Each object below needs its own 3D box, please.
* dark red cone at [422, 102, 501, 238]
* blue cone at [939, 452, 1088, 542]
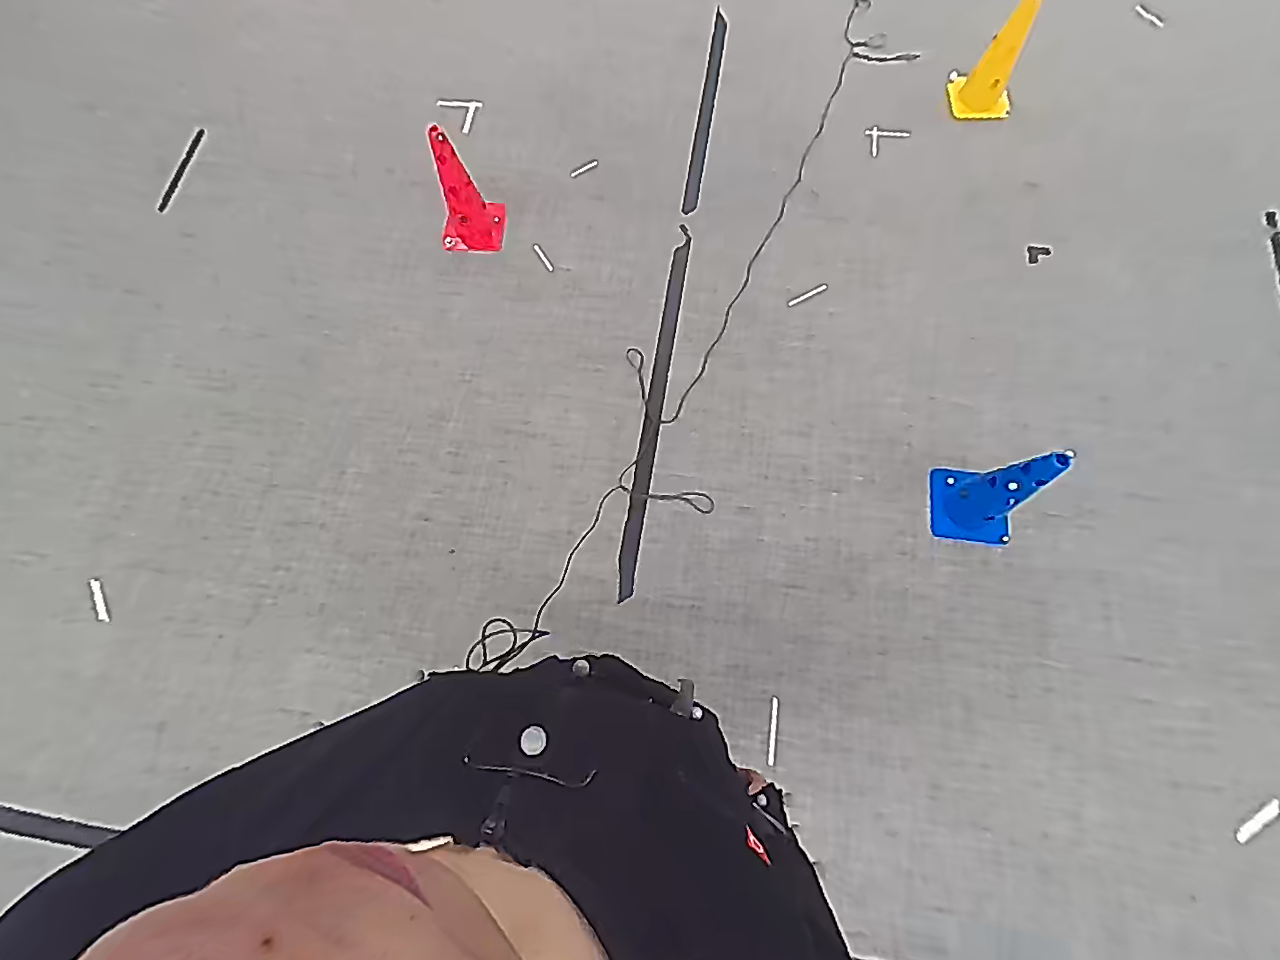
[{"bbox_3d":[-0.561,-0.923,1.613,0.201,0.394,0.202,1,72,1],"label":"dark red cone"},{"bbox_3d":[0.893,0.015,1.285,0.192,0.380,0.193,9,72,4],"label":"blue cone"}]
